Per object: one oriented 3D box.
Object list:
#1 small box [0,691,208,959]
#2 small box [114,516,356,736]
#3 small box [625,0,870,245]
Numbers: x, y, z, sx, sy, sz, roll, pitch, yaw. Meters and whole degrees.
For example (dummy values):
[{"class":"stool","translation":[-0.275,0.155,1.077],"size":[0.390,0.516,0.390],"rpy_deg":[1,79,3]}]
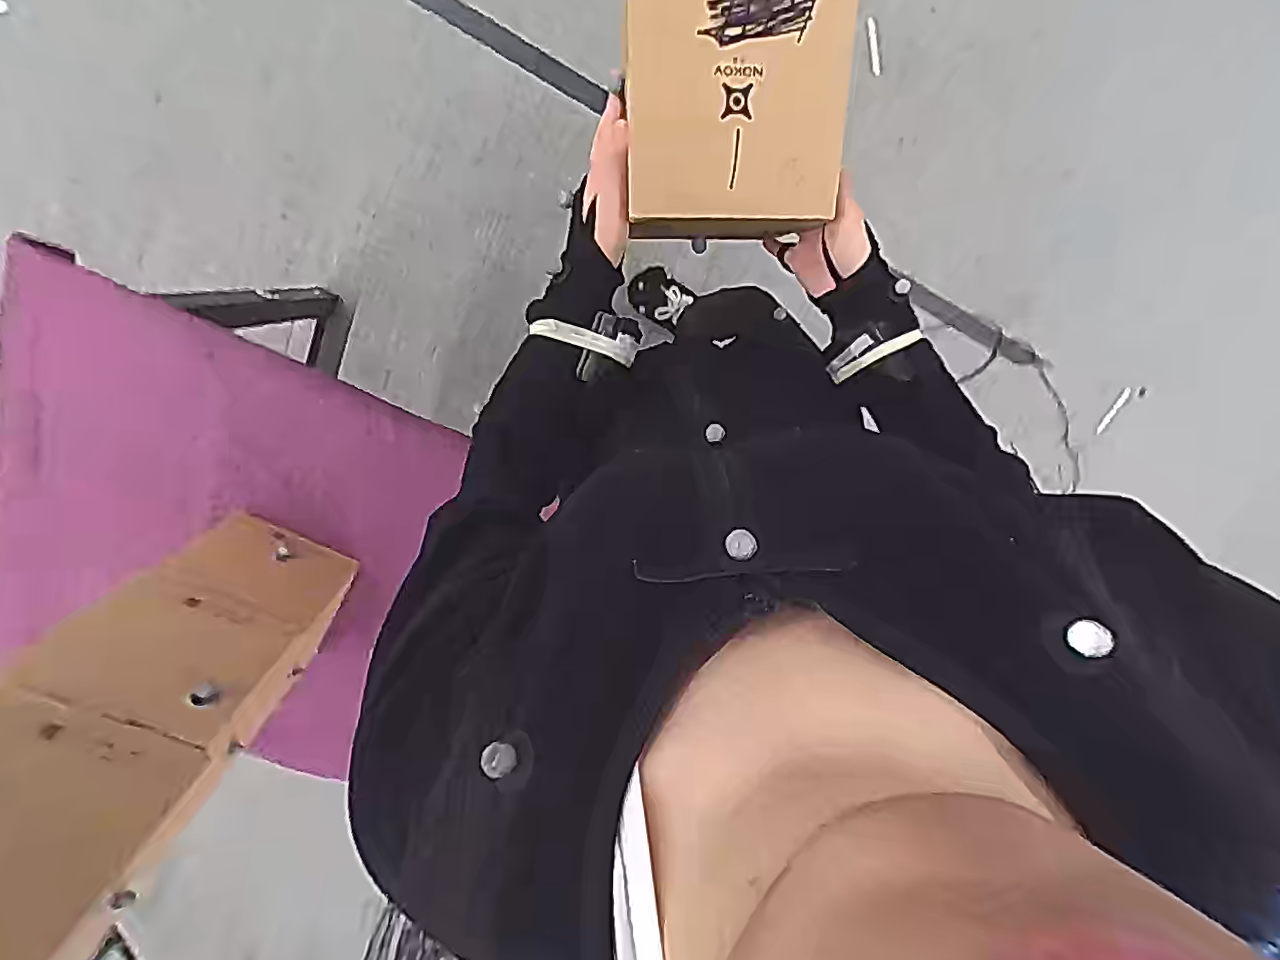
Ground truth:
[{"class":"small box","translation":[-0.462,0.288,0.385],"size":[0.168,0.176,0.179],"rpy_deg":[30,106,-14]},{"class":"small box","translation":[-0.497,0.178,0.691],"size":[0.168,0.176,0.179],"rpy_deg":[28,105,-15]},{"class":"small box","translation":[0.073,-0.309,0.468],"size":[0.168,0.176,0.179],"rpy_deg":[0,110,-4]}]
